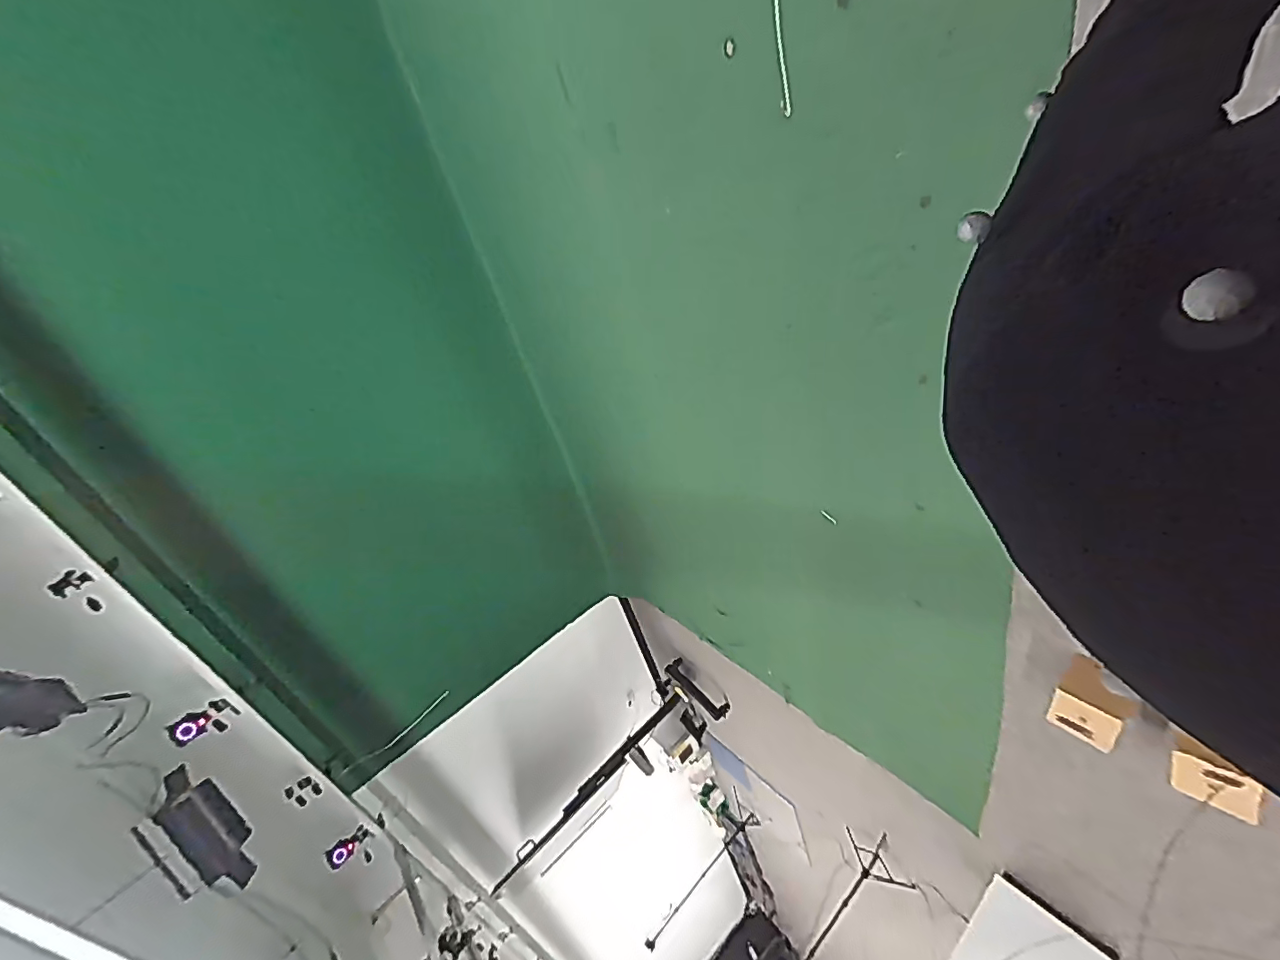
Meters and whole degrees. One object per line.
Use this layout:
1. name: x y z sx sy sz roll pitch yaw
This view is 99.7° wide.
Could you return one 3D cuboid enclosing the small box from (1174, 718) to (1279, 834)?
1. small box: 1.569 0.780 1.443 0.168 0.176 0.179 15 133 55
